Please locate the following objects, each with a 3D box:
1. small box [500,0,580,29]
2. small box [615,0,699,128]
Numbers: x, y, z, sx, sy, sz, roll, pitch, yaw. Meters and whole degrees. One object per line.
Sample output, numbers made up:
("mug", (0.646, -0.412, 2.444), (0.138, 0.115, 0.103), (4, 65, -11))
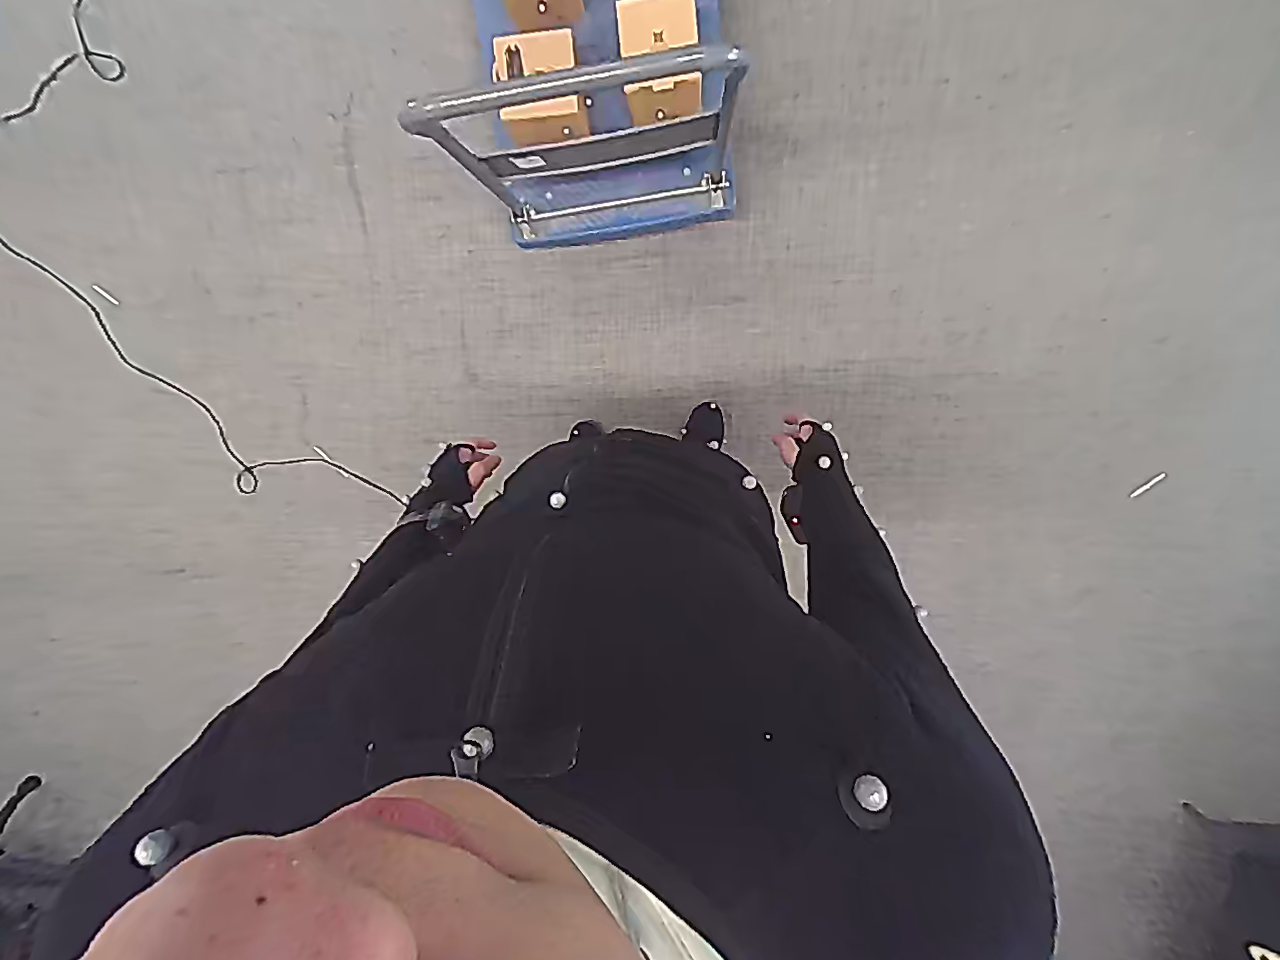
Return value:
("small box", (-0.239, -1.151, 1.199), (0.168, 0.176, 0.179), (-10, 99, 6))
("small box", (0.042, -0.931, 1.212), (0.168, 0.176, 0.179), (-5, 100, 6))
